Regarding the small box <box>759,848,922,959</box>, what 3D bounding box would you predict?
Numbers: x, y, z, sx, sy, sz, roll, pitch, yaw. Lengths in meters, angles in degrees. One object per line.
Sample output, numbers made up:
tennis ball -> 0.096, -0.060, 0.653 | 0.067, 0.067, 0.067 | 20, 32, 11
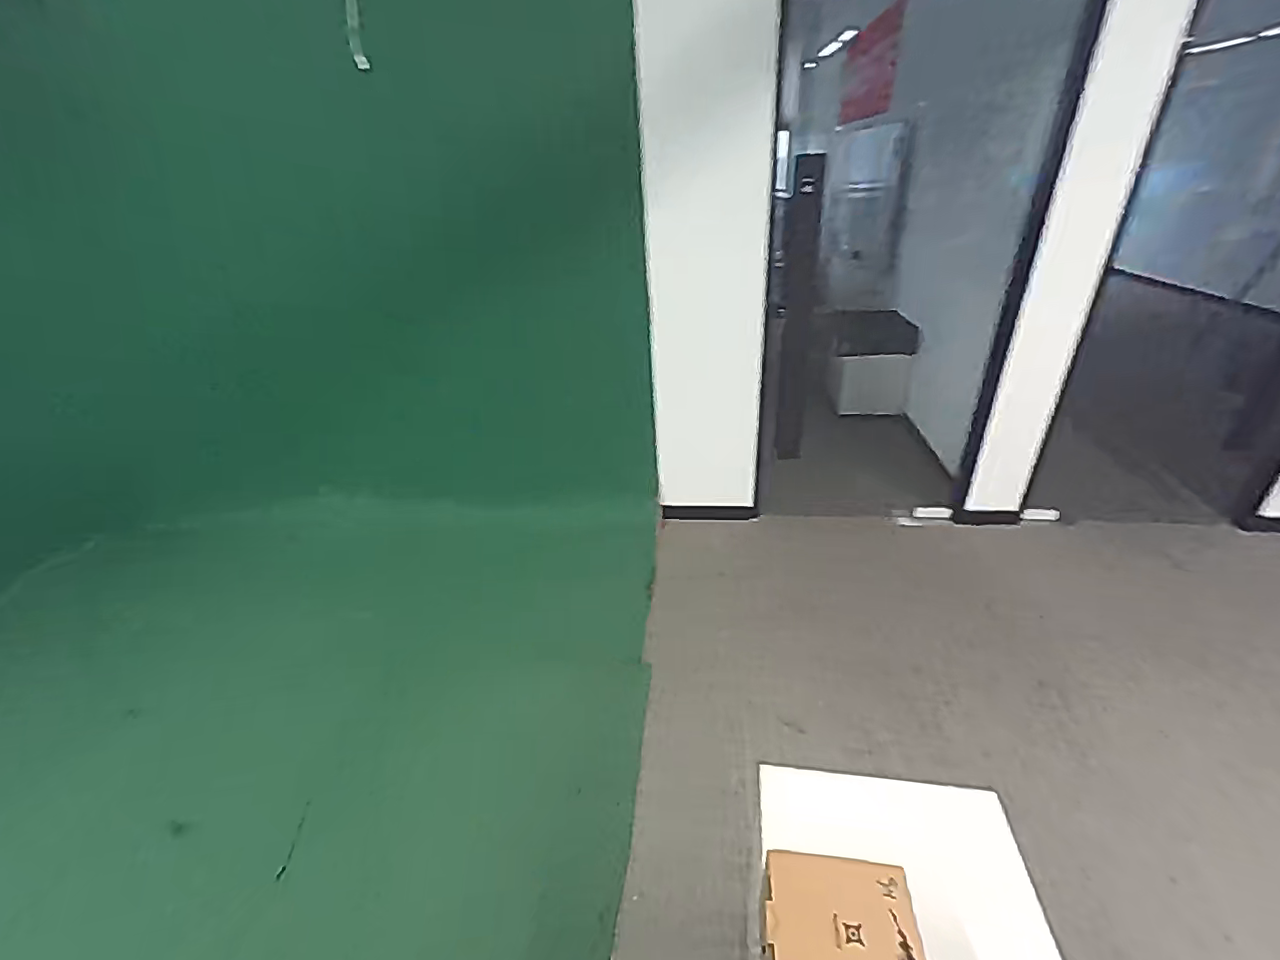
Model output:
small box -> 0.243, 0.607, 0.683 | 0.179, 0.176, 0.168 | 3, 30, 9
